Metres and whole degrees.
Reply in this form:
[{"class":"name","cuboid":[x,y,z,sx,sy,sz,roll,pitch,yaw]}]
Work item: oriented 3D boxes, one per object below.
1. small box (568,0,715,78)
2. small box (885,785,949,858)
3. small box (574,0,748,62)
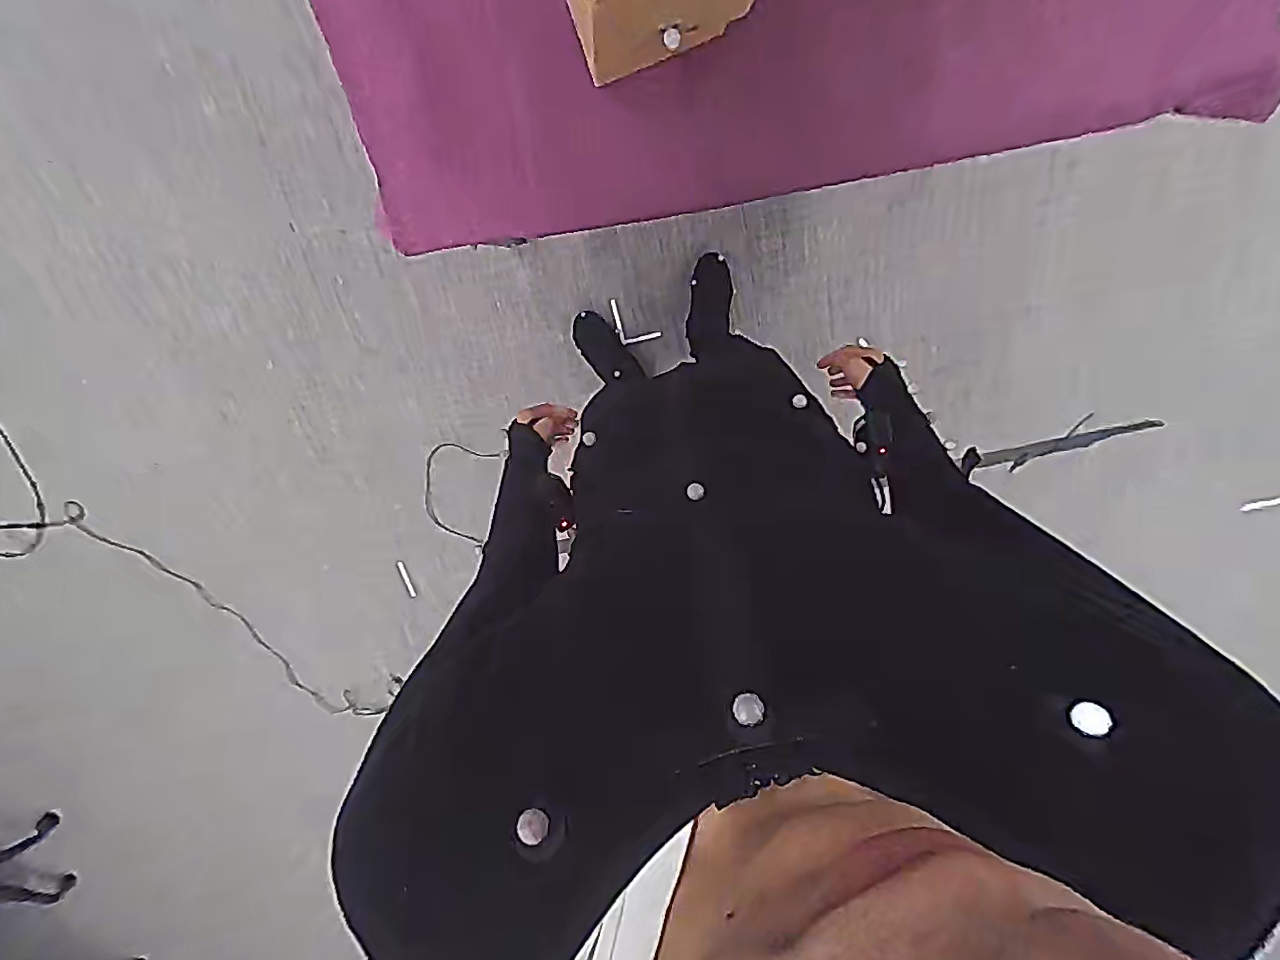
[{"class":"small box","cuboid":[-0.001,-0.572,0.578,0.179,0.176,0.168,-20,112,4]},{"class":"small box","cuboid":[1.152,1.422,2.257,0.168,0.176,0.179,-23,112,5]},{"class":"small box","cuboid":[0.009,-0.487,0.435,0.168,0.176,0.179,-18,113,4]}]
